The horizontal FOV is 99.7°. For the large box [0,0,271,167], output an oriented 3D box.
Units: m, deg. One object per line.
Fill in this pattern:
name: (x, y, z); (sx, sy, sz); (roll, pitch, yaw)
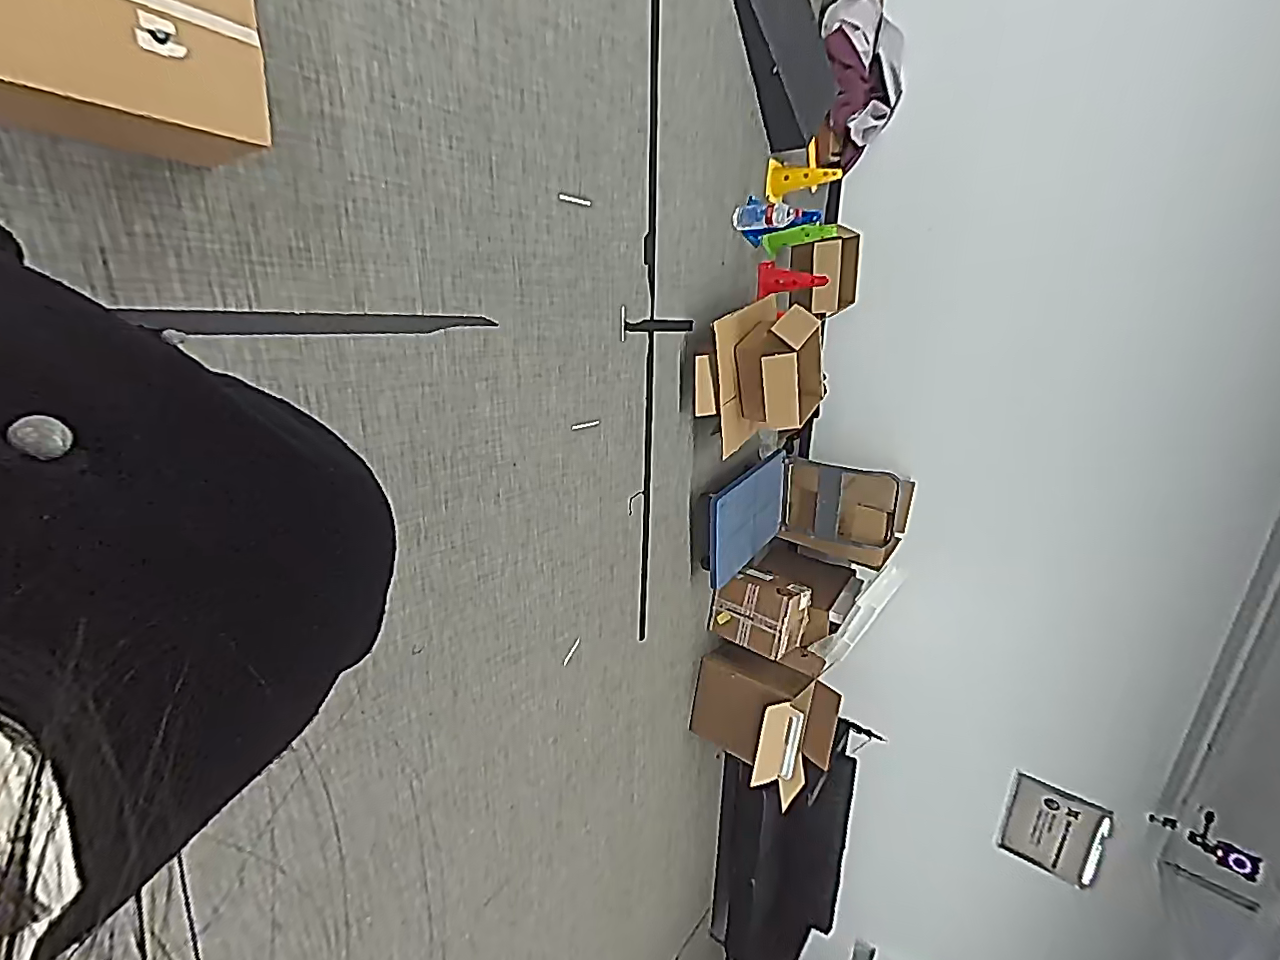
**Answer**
large box: (-0.874, -0.719, 0.831); (0.408, 0.320, 0.320); (-17, 116, -51)
